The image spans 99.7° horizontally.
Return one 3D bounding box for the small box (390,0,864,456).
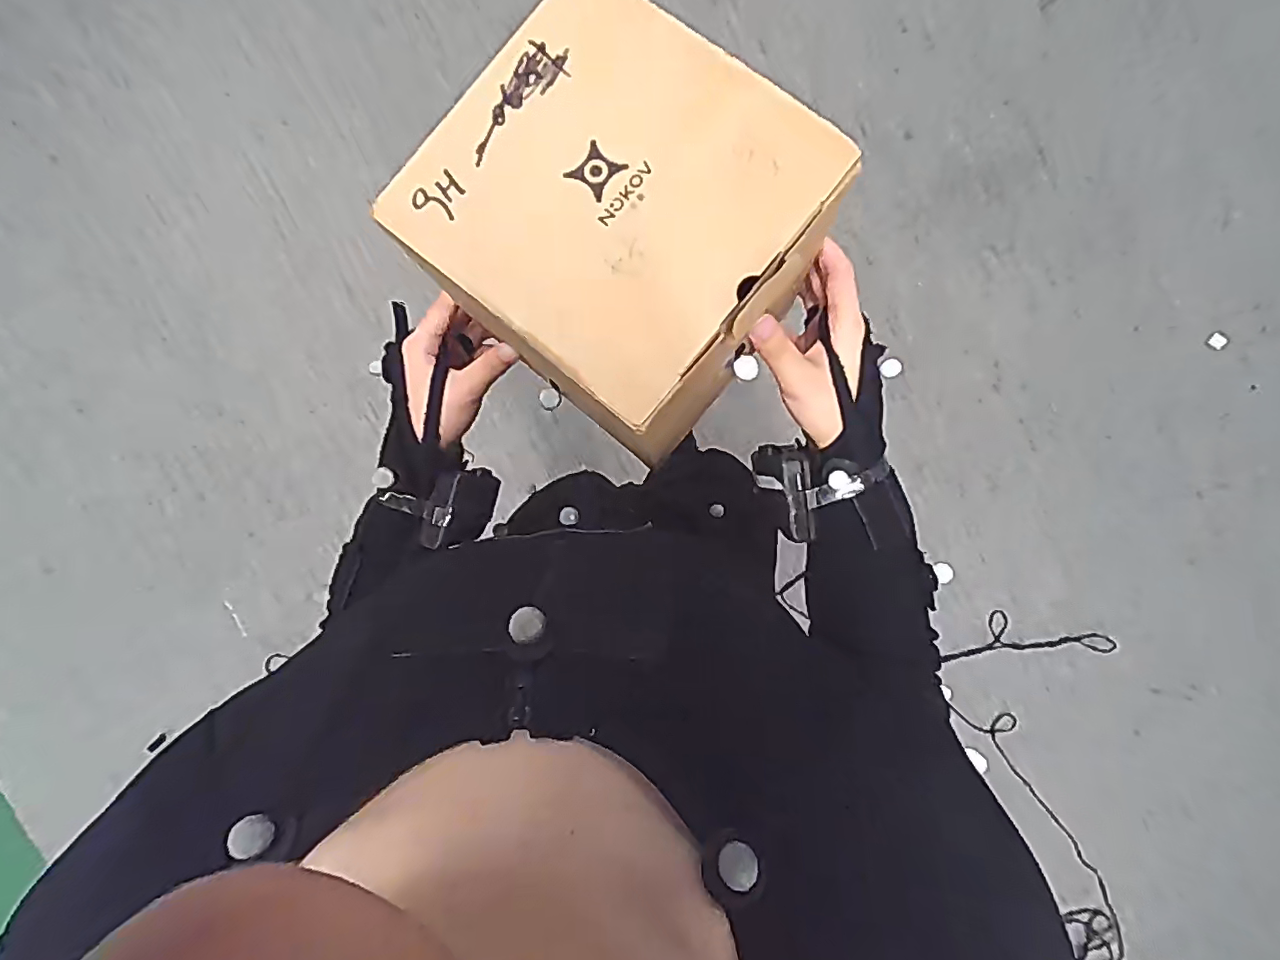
[{"bbox_3d":[-0.004,-0.129,0.342,0.179,0.176,0.168,41,88,6],"label":"small box"}]
